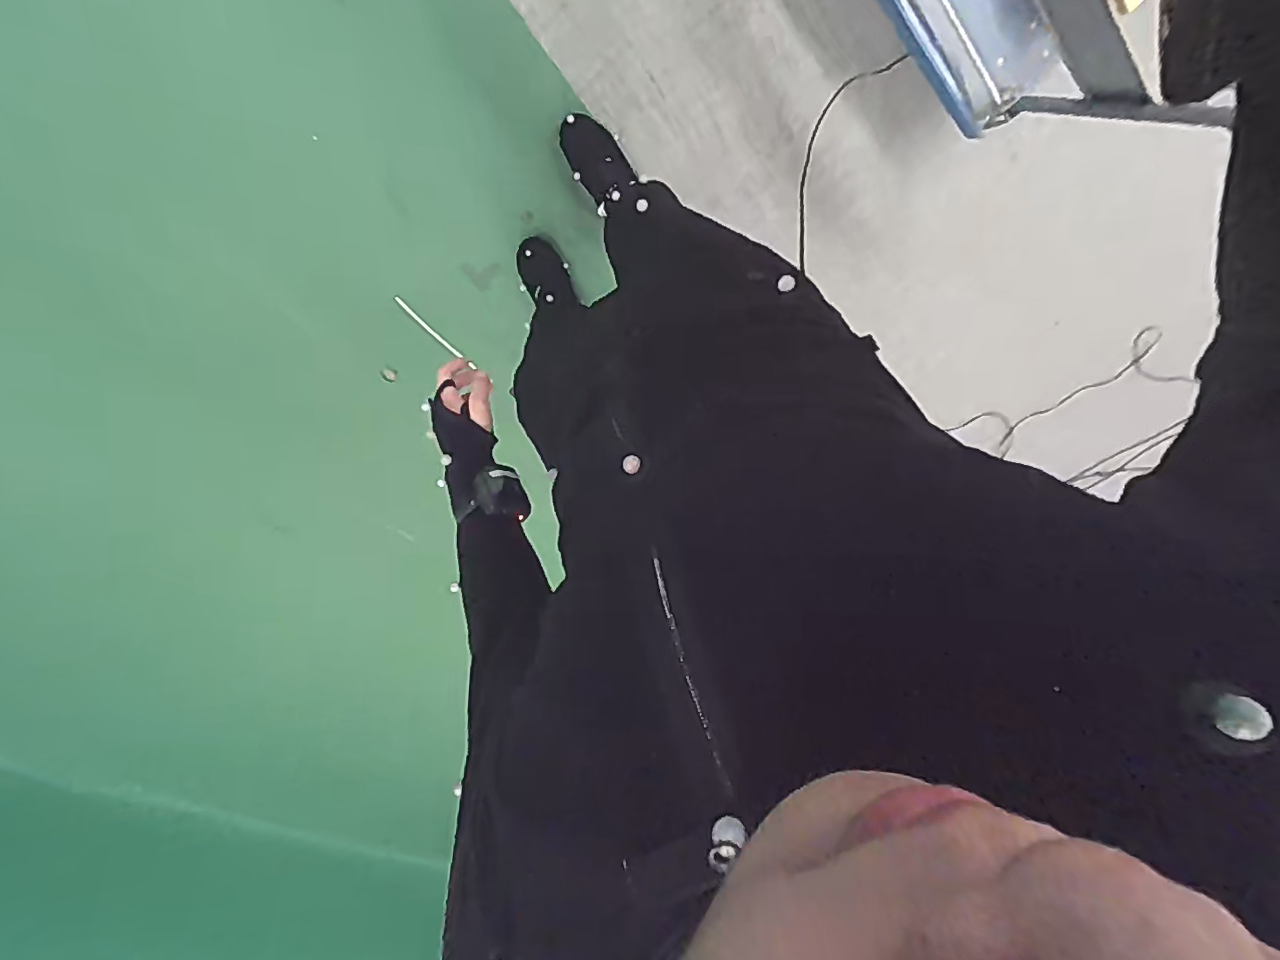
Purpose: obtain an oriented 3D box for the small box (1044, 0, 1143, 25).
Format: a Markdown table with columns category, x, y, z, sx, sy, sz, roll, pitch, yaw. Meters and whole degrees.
| category | x | y | z | sx | sy | sz | roll | pitch | yaw |
| --- | --- | --- | --- | --- | --- | --- | --- | --- | --- |
| small box | 0.881 | -0.997 | 0.998 | 0.168 | 0.176 | 0.179 | 33 | 112 | -28 |
